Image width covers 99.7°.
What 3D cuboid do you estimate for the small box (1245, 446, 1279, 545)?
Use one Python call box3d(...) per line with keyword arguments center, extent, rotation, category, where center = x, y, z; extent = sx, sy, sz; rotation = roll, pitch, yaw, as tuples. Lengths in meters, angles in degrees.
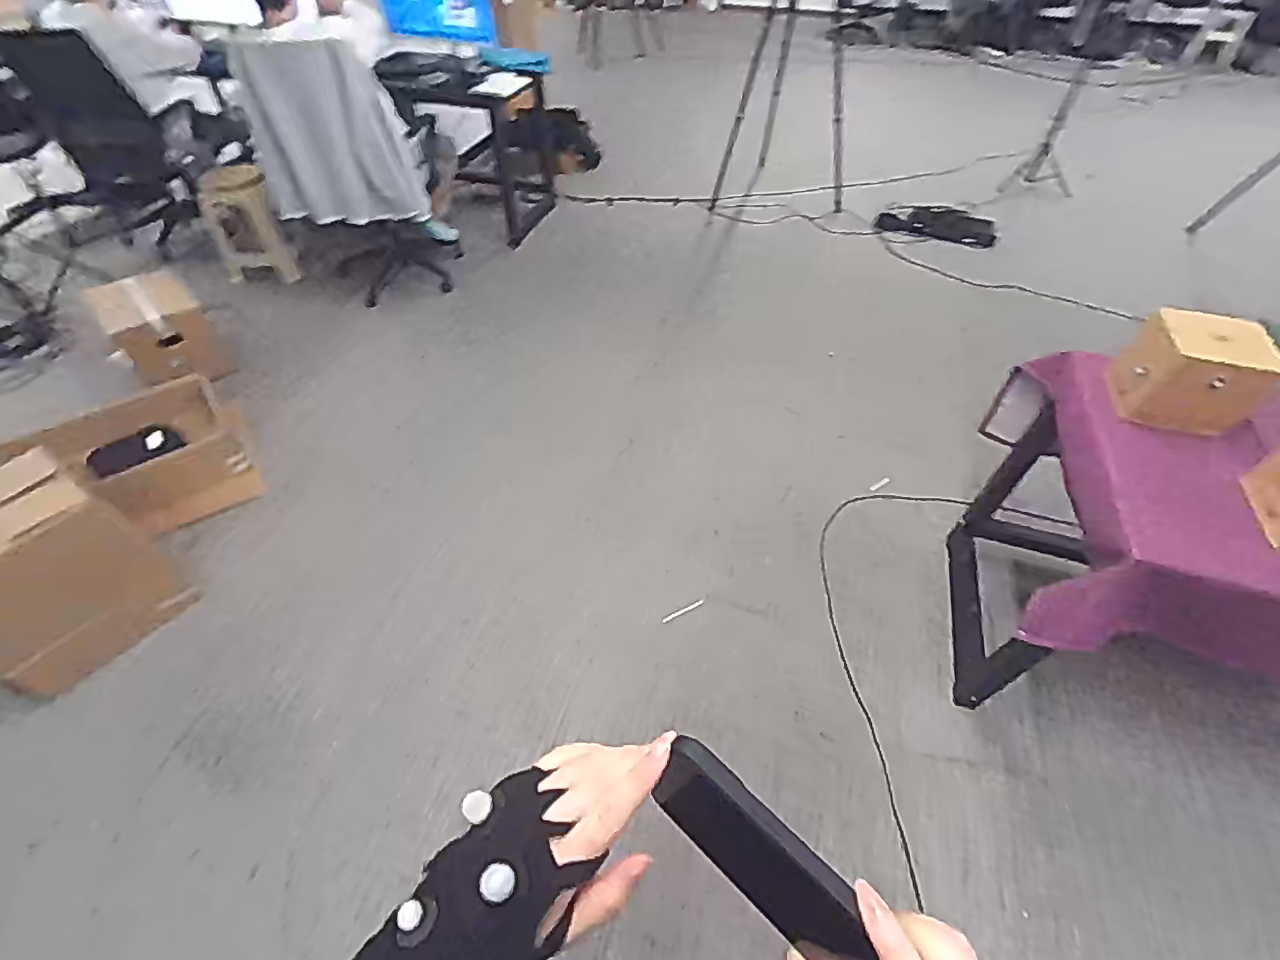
box3d(center=(1.155, 0.024, 0.873), extent=(0.179, 0.176, 0.168), rotation=(16, 51, 12), category="small box")
